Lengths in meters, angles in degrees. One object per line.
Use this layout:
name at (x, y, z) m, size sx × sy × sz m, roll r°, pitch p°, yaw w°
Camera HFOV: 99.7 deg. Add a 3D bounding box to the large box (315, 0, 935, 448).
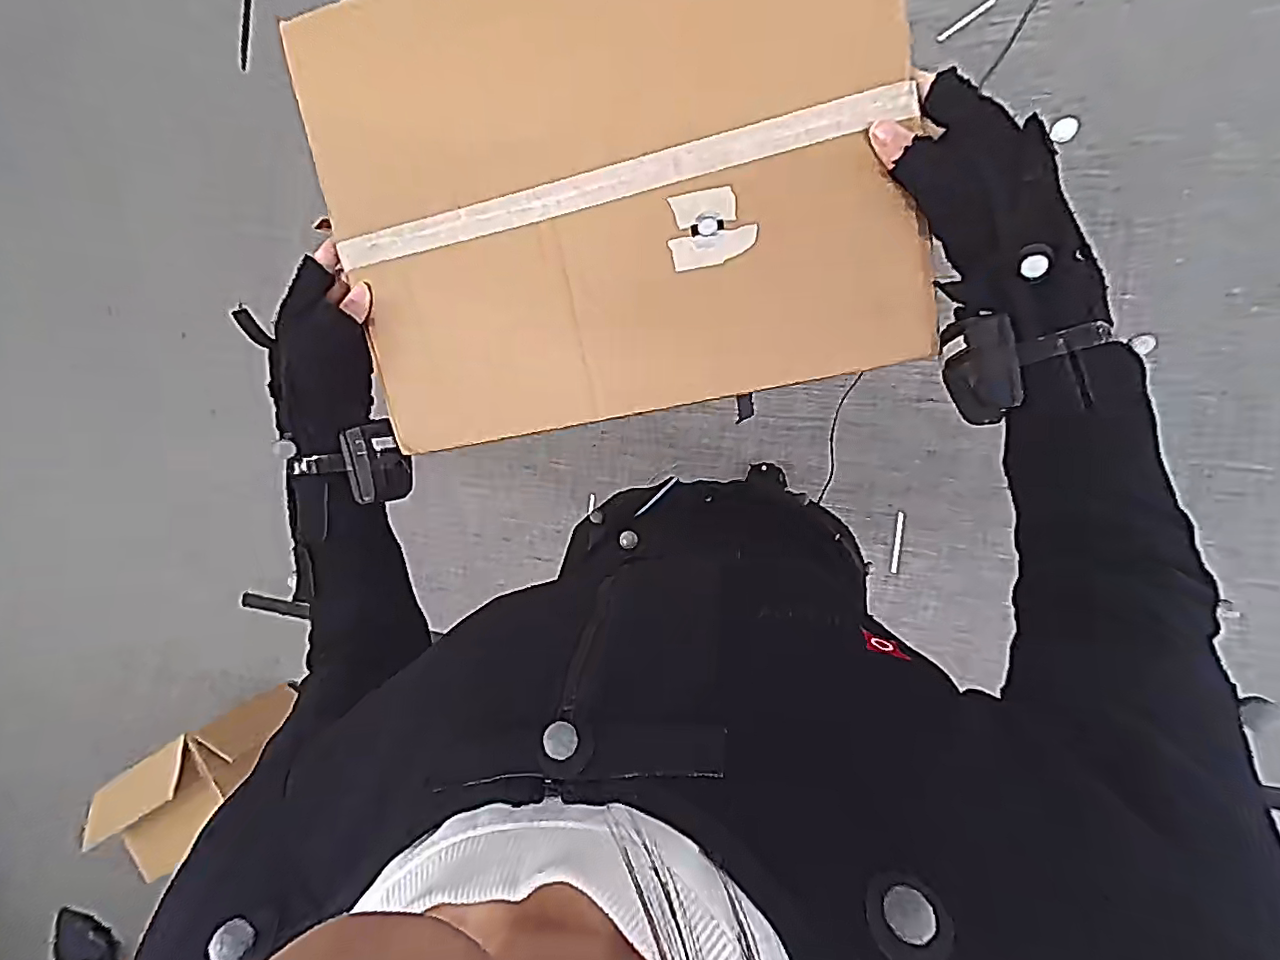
large box at (0.002, -0.236, 0.527) m, size 0.408 × 0.320 × 0.320 m, roll -10°, pitch 101°, yaw 10°
